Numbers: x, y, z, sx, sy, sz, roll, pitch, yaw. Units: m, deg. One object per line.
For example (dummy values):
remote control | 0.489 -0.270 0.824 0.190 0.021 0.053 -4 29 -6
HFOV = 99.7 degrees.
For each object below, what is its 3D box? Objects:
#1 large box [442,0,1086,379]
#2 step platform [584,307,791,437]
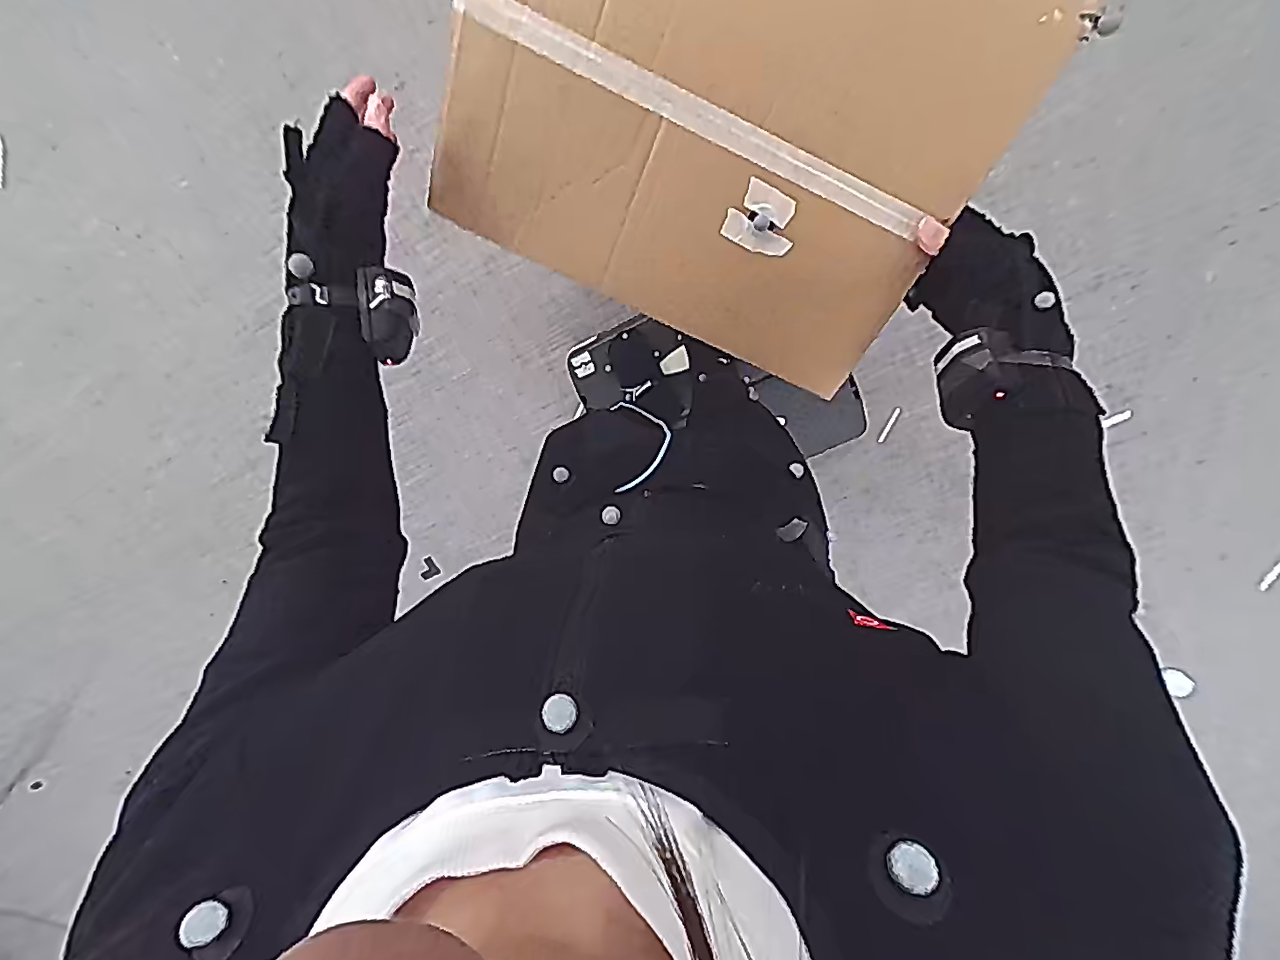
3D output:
large box | 0.076 -0.360 0.537 0.408 0.320 0.320 22 125 -6
step platform | 0.195 -0.378 1.422 0.684 0.204 0.286 -26 107 11
